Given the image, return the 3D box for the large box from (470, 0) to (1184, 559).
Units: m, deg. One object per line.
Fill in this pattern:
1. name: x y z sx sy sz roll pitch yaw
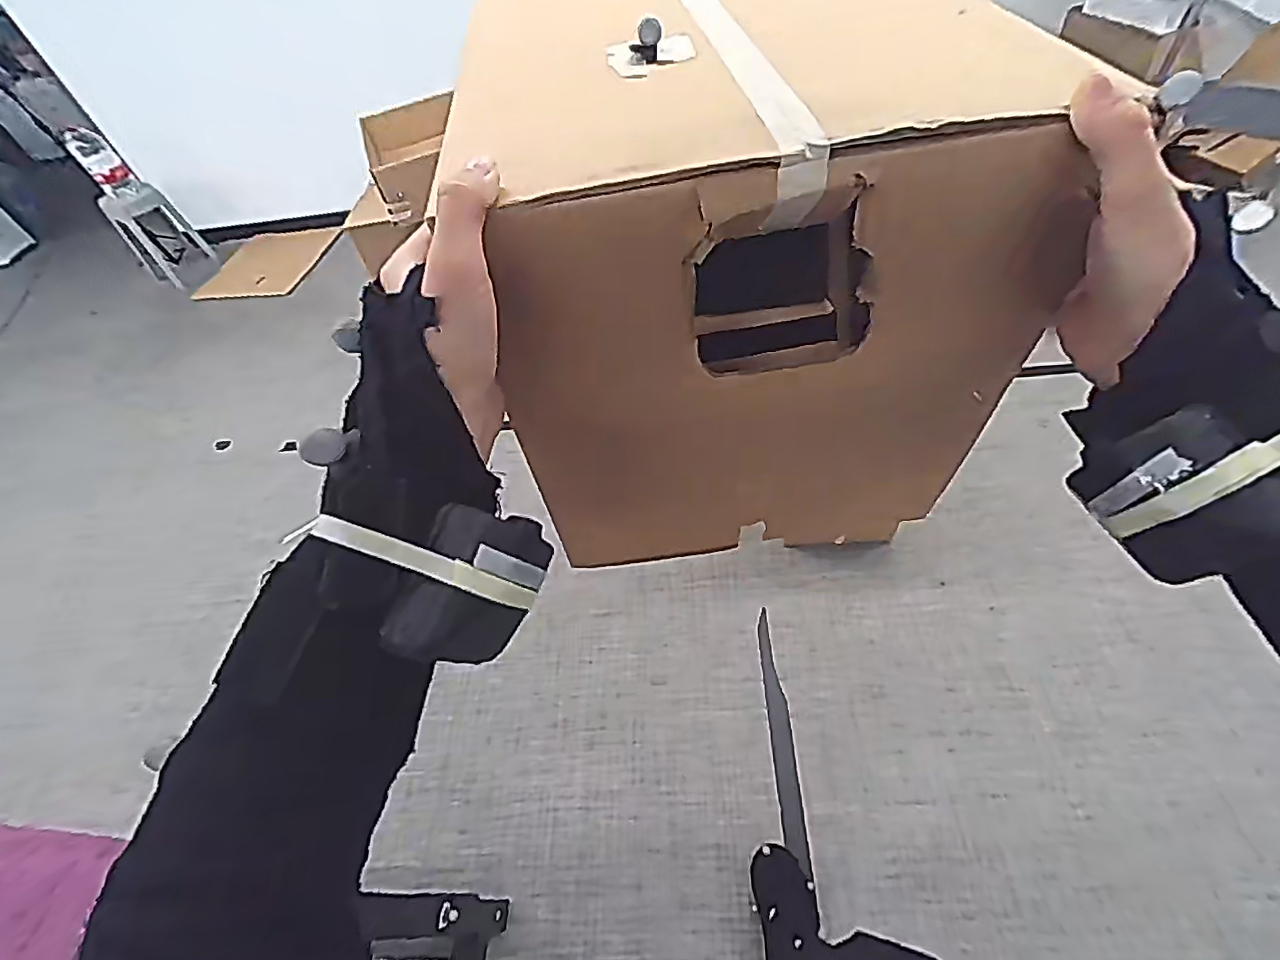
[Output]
1. large box: 0.064 -0.196 0.460 0.320 0.320 0.408 -10 54 0
